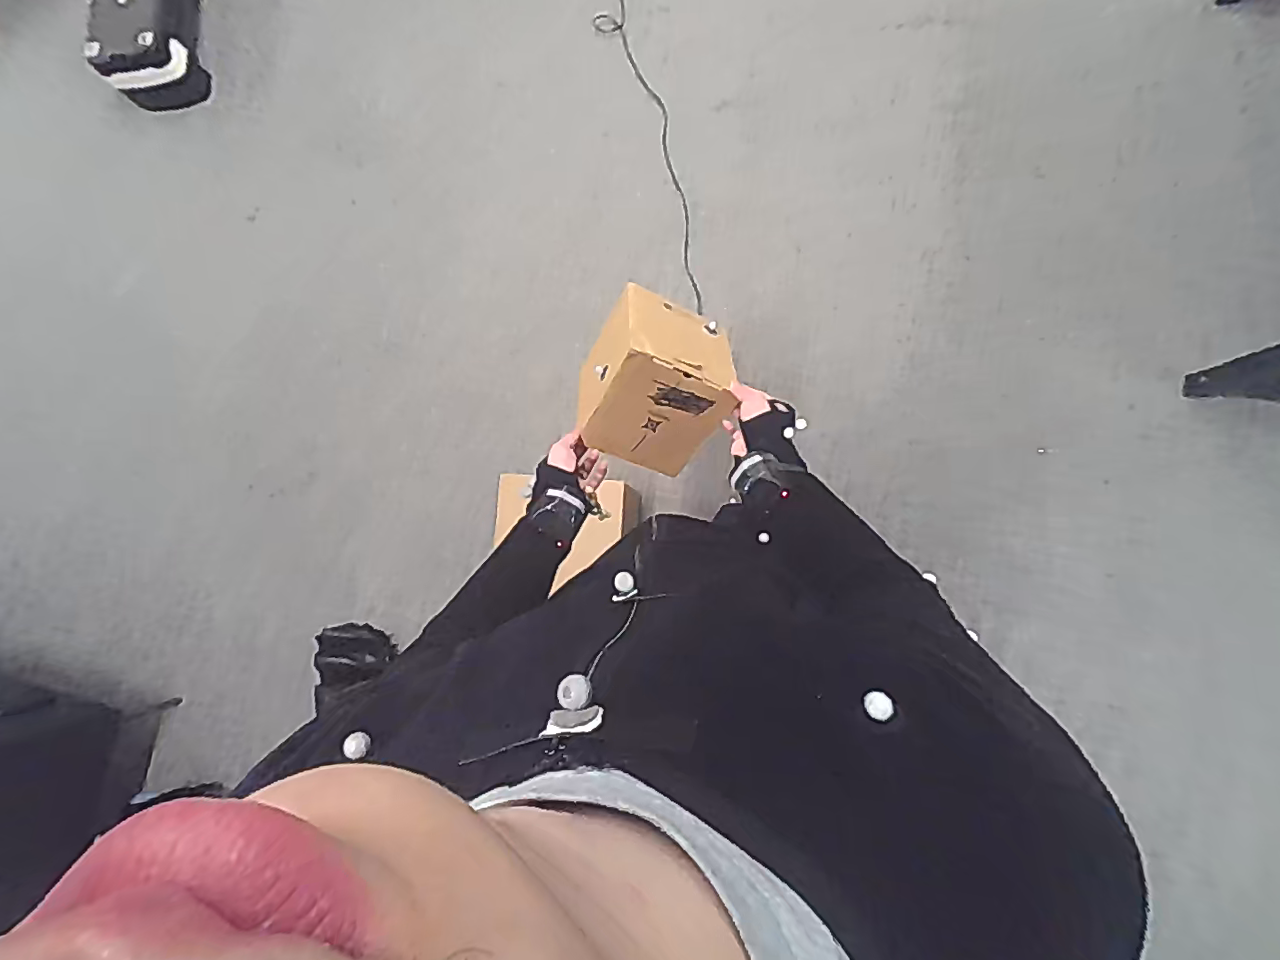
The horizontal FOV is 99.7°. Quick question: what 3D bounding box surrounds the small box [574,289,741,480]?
[{"bbox_3d":[0.015,-0.136,0.766,0.168,0.179,0.176,19,42,-21],"label":"small box"}]
